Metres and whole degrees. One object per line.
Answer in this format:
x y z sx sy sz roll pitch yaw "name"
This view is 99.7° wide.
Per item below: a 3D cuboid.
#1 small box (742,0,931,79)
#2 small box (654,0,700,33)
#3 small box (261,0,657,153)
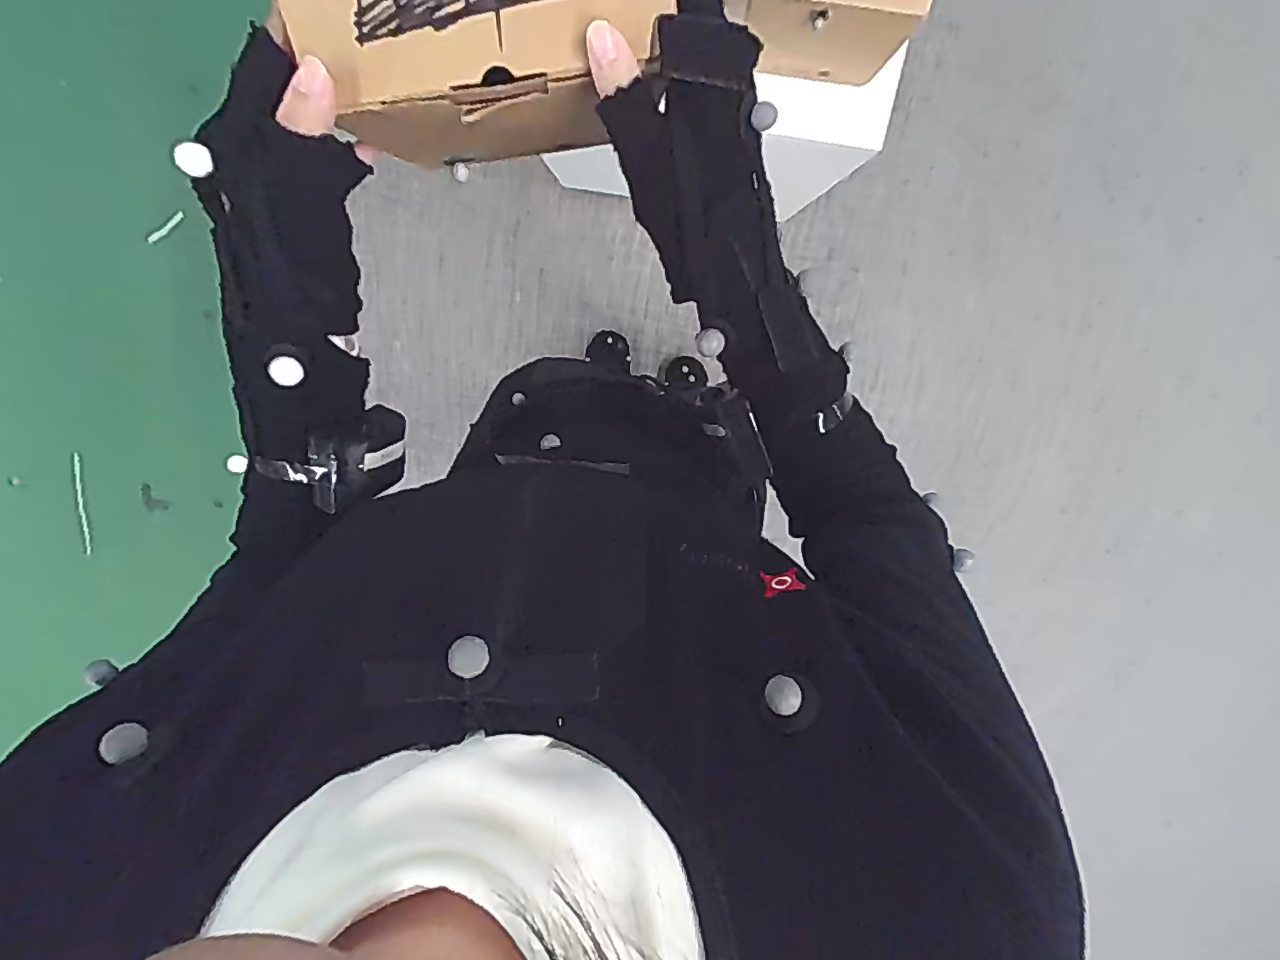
0.210 -0.565 0.563 0.168 0.176 0.179 9 107 0 "small box"
-0.007 -0.604 0.547 0.168 0.176 0.179 7 109 1 "small box"
-0.087 -0.285 0.278 0.168 0.176 0.179 -9 112 -1 "small box"
